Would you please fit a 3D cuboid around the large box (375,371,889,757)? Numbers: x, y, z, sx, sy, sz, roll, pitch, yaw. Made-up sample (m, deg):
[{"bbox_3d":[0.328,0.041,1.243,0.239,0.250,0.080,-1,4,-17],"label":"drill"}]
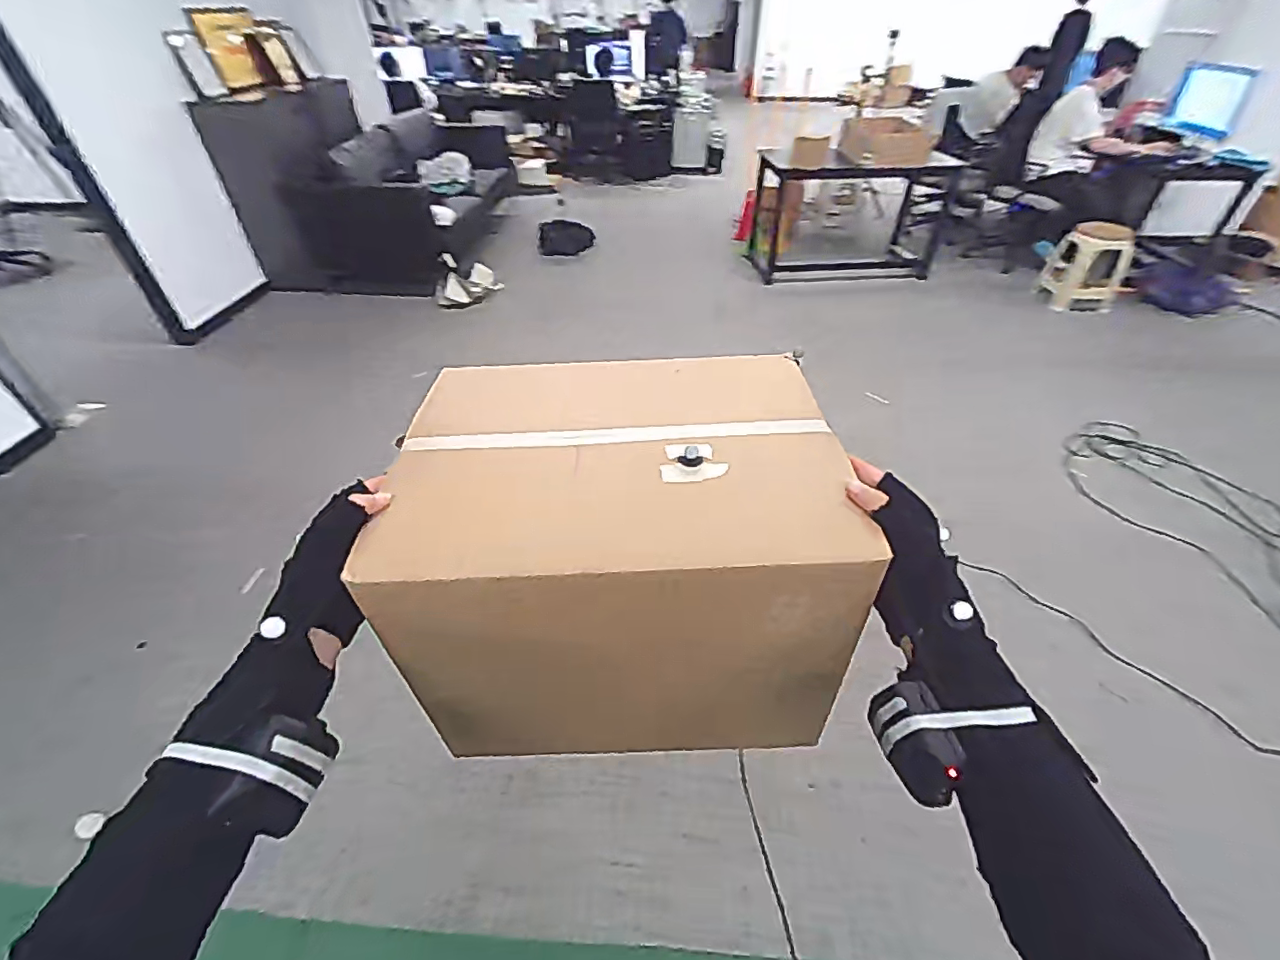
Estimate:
[{"bbox_3d":[-0.008,0.089,0.618,0.408,0.320,0.320,-2,41,0],"label":"large box"}]
